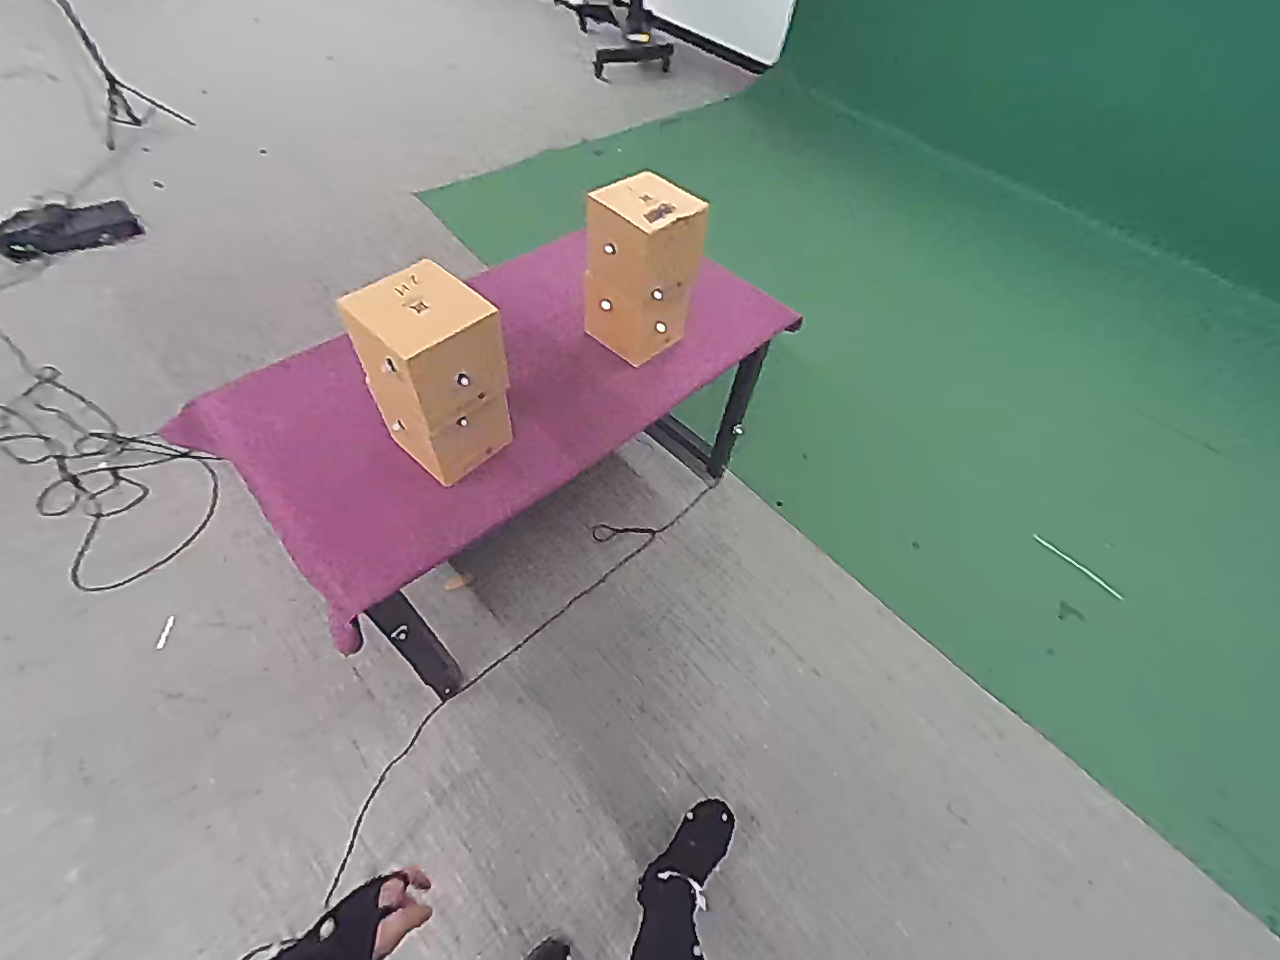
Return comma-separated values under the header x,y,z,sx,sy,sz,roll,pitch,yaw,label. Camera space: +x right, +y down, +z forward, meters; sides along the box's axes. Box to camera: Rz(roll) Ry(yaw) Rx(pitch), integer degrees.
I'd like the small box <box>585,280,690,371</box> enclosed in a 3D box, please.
x,y,z,sx,sy,sz,roll,pitch,yaw,label
-0.007,-0.374,1.239,0.179,0.176,0.168,40,61,23,small box

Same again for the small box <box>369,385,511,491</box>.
x,y,z,sx,sy,sz,roll,pitch,yaw,label
-0.366,-0.111,1.017,0.179,0.176,0.168,37,60,20,small box

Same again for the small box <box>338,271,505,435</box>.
x,y,z,sx,sy,sz,roll,pitch,yaw,label
-0.339,-0.197,0.876,0.179,0.176,0.168,38,59,20,small box

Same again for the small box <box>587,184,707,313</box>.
x,y,z,sx,sy,sz,roll,pitch,yaw,label
0.010,-0.465,1.102,0.168,0.176,0.179,-35,62,-26,small box
